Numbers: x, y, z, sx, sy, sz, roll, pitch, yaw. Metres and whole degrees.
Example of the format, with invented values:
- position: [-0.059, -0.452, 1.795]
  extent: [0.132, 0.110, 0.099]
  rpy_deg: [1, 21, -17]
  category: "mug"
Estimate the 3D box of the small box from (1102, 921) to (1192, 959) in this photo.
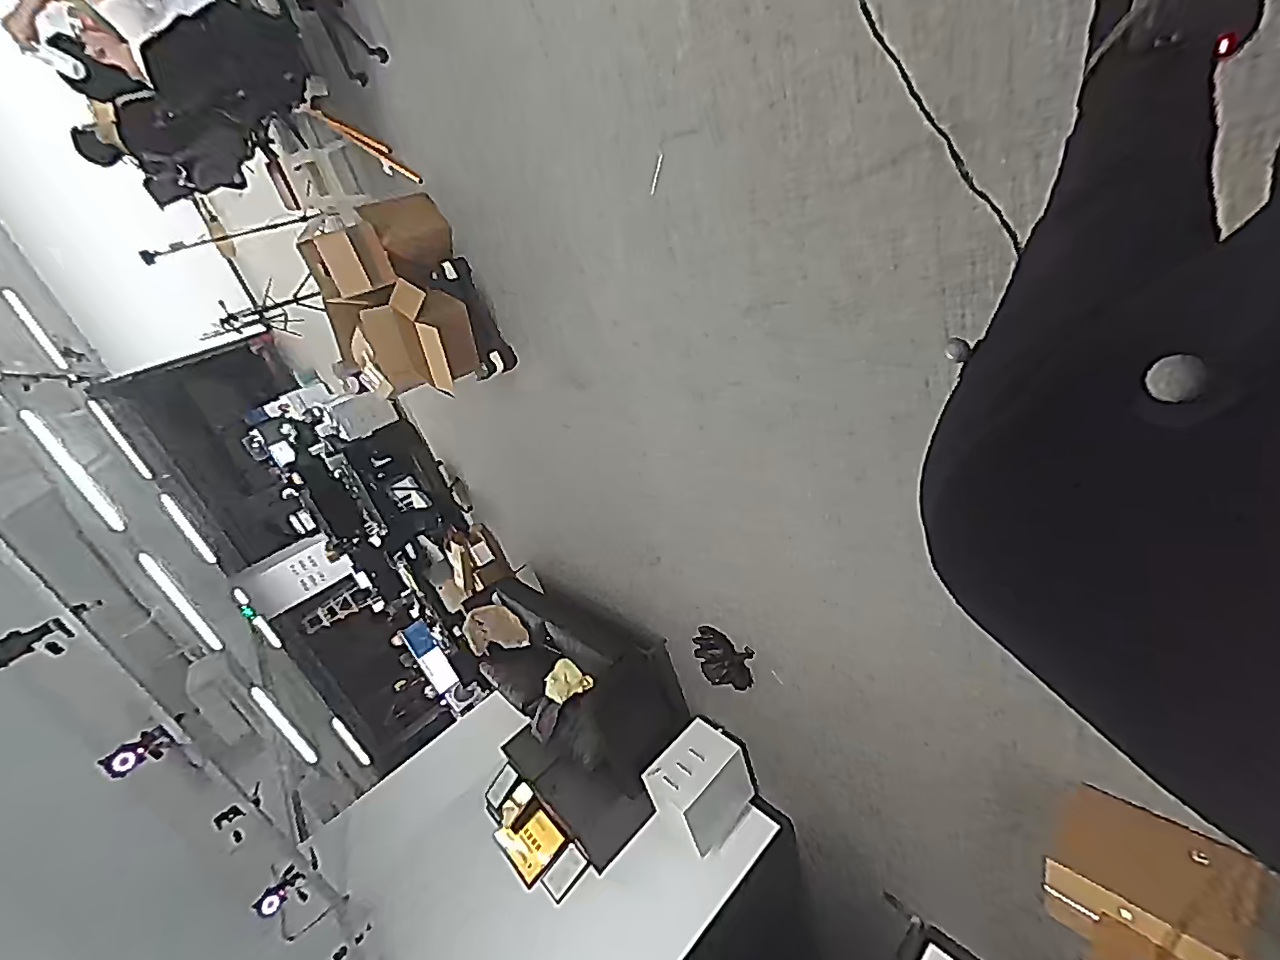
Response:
- position: [1.362, 1.344, 1.452]
  extent: [0.179, 0.176, 0.168]
  rpy_deg: [20, 130, 47]
  category: "small box"
